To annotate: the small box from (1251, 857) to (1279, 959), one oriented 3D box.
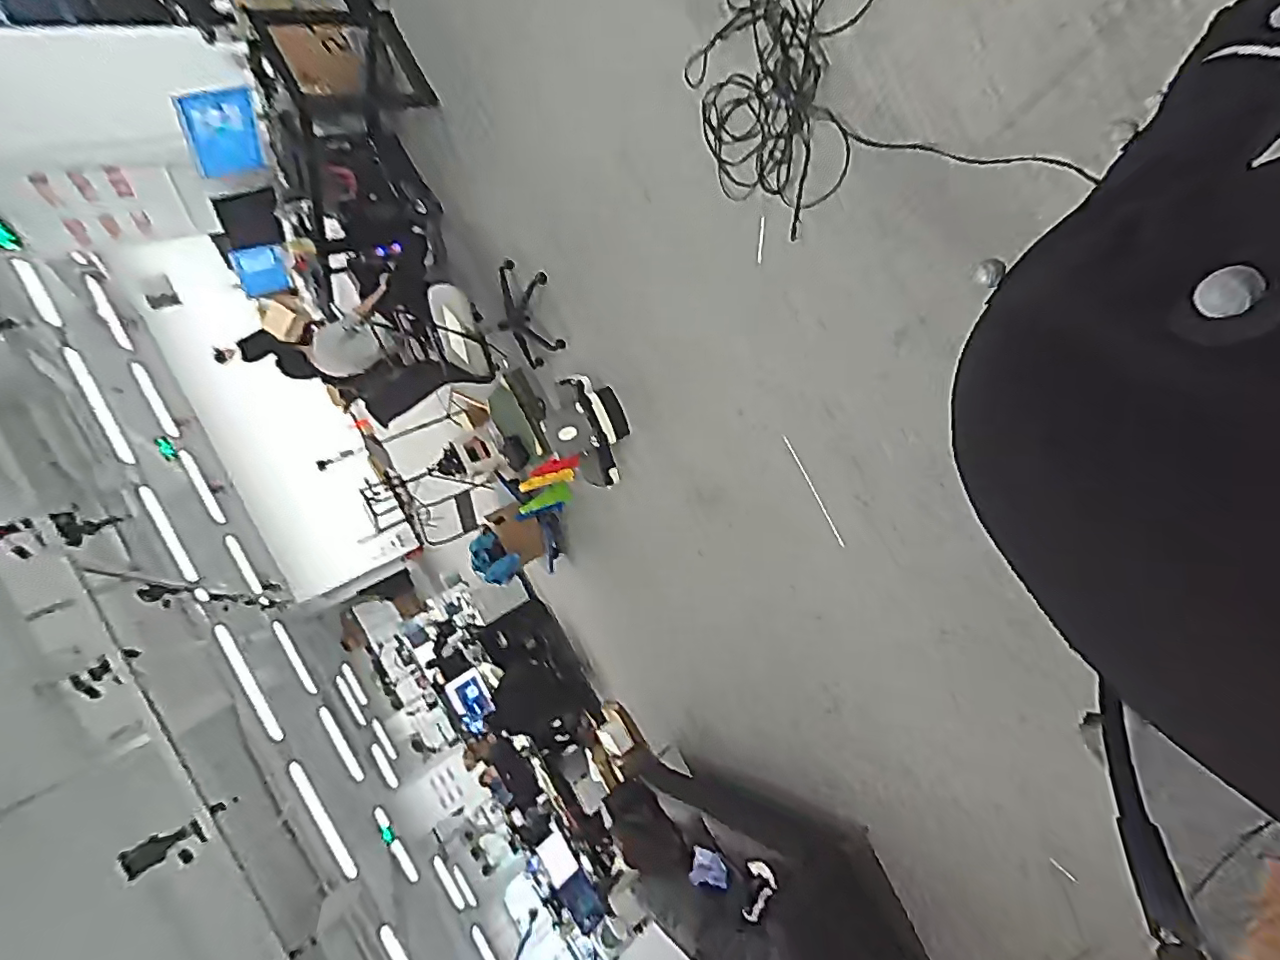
[{"bbox_3d":[0.844,0.559,0.592,0.179,0.176,0.168,61,152,1],"label":"small box"}]
